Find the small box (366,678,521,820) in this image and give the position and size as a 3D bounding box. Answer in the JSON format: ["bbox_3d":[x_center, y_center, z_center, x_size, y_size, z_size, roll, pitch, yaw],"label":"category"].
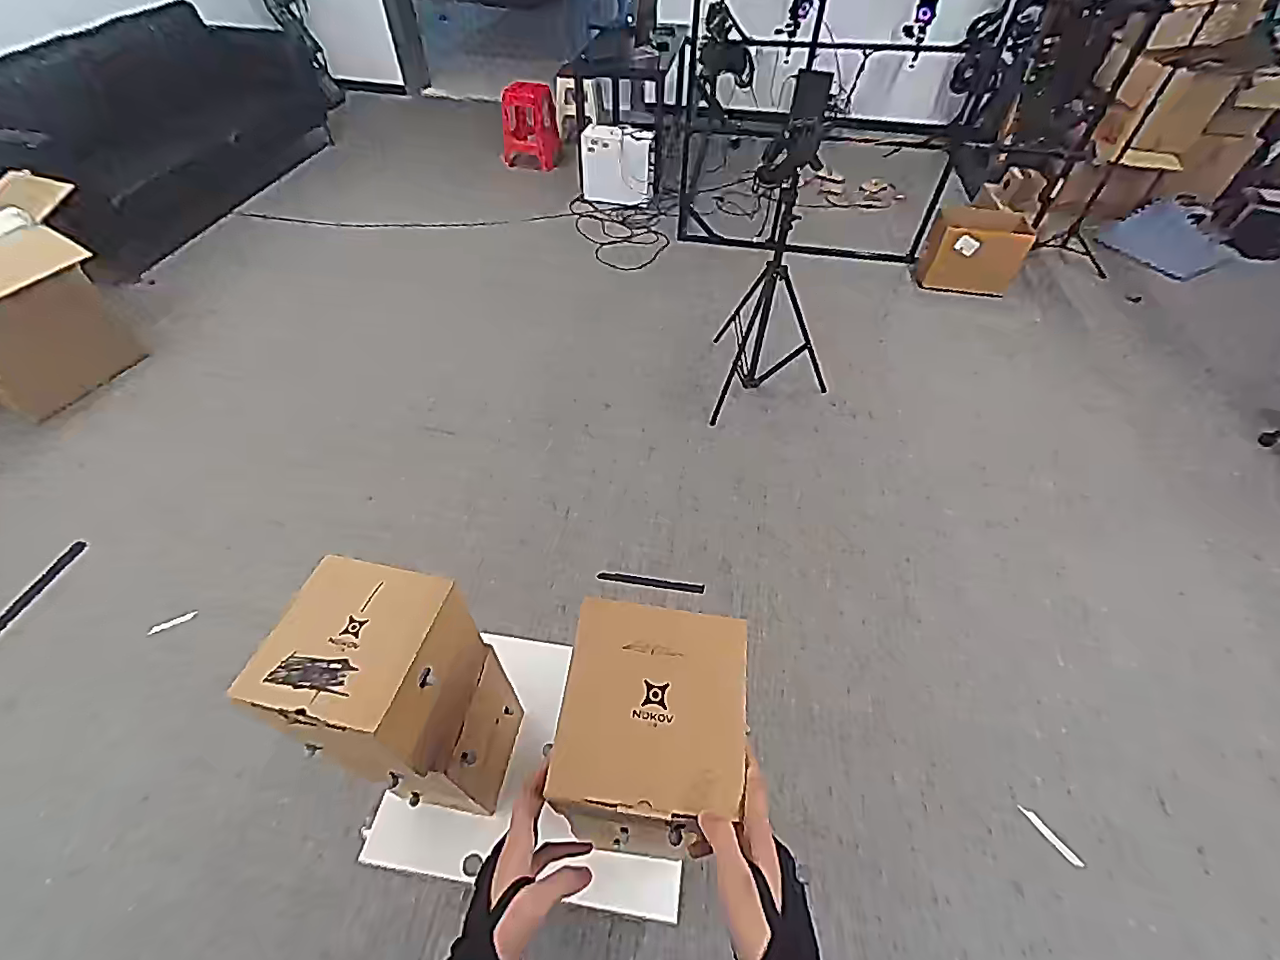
[{"bbox_3d":[-0.304,0.435,0.886,0.168,0.176,0.179,8,49,5],"label":"small box"}]

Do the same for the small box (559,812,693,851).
[{"bbox_3d":[0.000,0.376,0.722,0.168,0.176,0.179,6,49,5],"label":"small box"}]

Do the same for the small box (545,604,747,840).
[{"bbox_3d":[0.008,0.249,0.545,0.168,0.176,0.179,8,53,0],"label":"small box"}]

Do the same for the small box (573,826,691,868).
[{"bbox_3d":[-0.002,0.484,0.848,0.168,0.176,0.179,5,49,5],"label":"small box"}]

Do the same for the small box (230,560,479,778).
[{"bbox_3d":[-0.307,0.224,0.633,0.168,0.176,0.179,10,49,8],"label":"small box"}]
